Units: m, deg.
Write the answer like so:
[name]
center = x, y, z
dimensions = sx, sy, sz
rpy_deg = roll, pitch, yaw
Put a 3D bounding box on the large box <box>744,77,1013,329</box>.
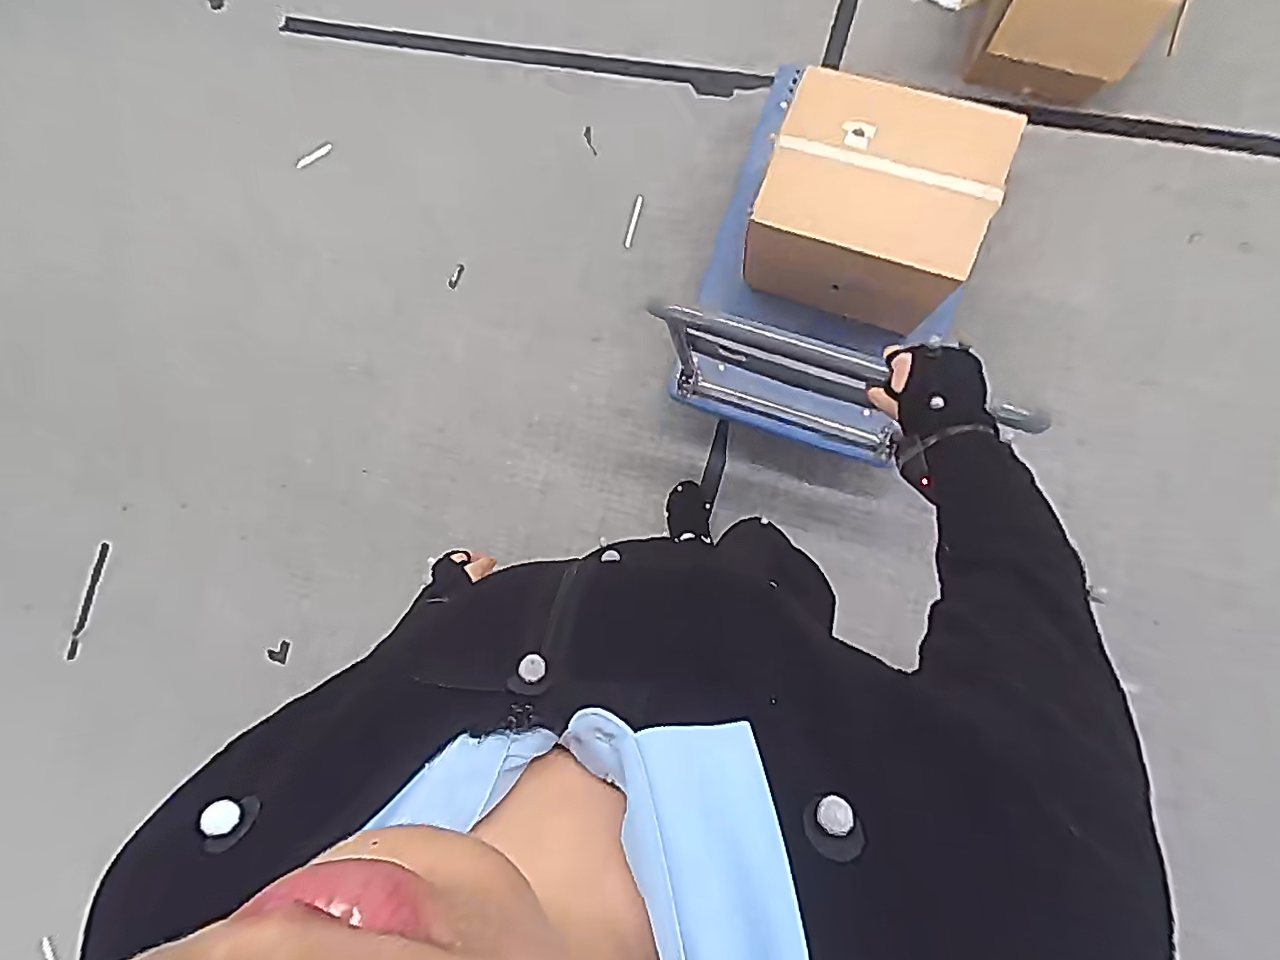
[large box]
center = 0.465, -0.561, 1.151
dimensions = 0.408, 0.320, 0.320
rpy_deg = 20, 89, 10
